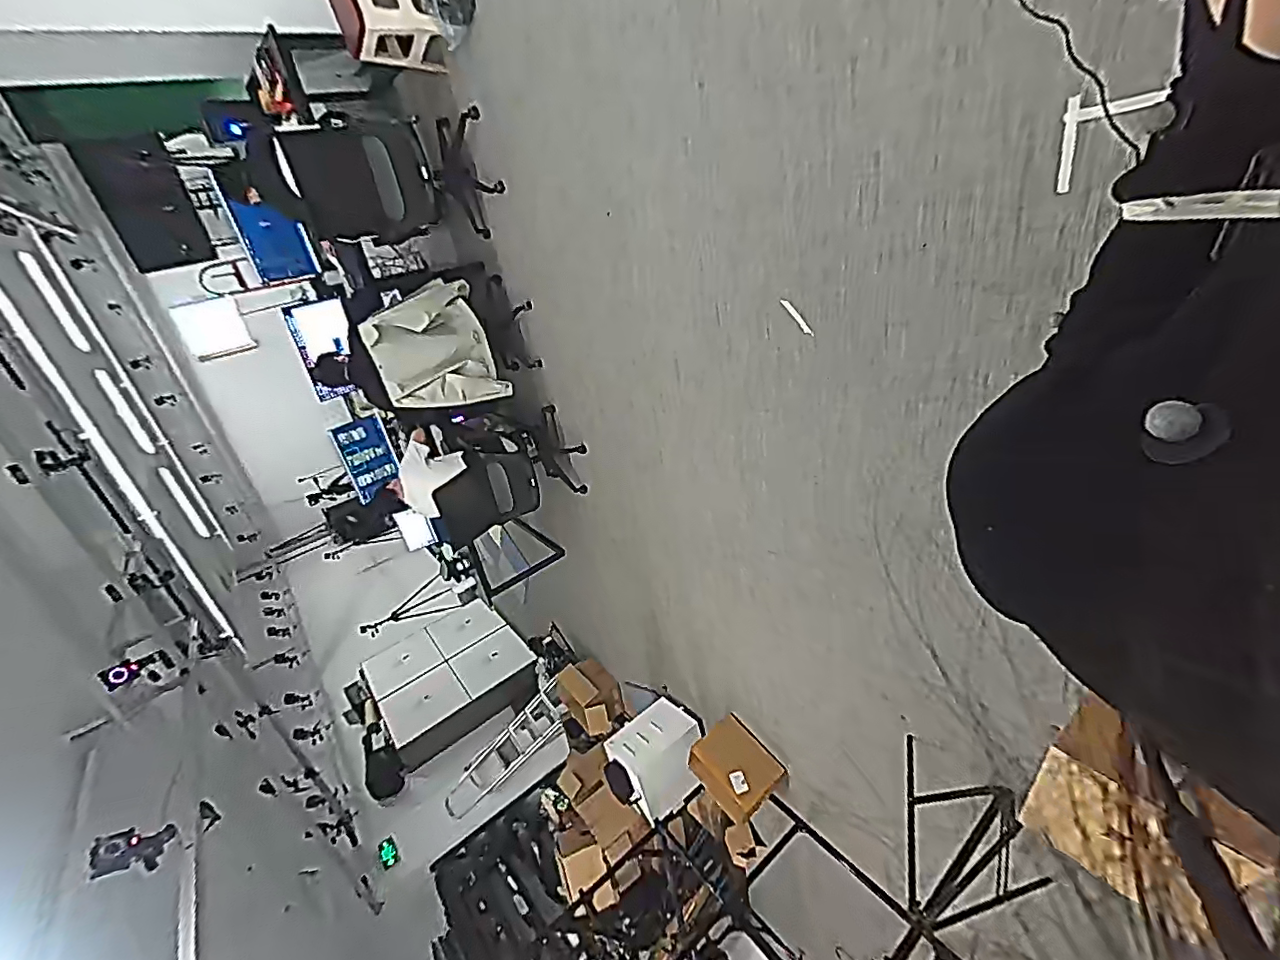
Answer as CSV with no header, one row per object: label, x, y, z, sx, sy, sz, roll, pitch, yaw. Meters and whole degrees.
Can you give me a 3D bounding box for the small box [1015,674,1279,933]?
small box,0.599,0.364,0.647,0.179,0.176,0.168,28,135,45
